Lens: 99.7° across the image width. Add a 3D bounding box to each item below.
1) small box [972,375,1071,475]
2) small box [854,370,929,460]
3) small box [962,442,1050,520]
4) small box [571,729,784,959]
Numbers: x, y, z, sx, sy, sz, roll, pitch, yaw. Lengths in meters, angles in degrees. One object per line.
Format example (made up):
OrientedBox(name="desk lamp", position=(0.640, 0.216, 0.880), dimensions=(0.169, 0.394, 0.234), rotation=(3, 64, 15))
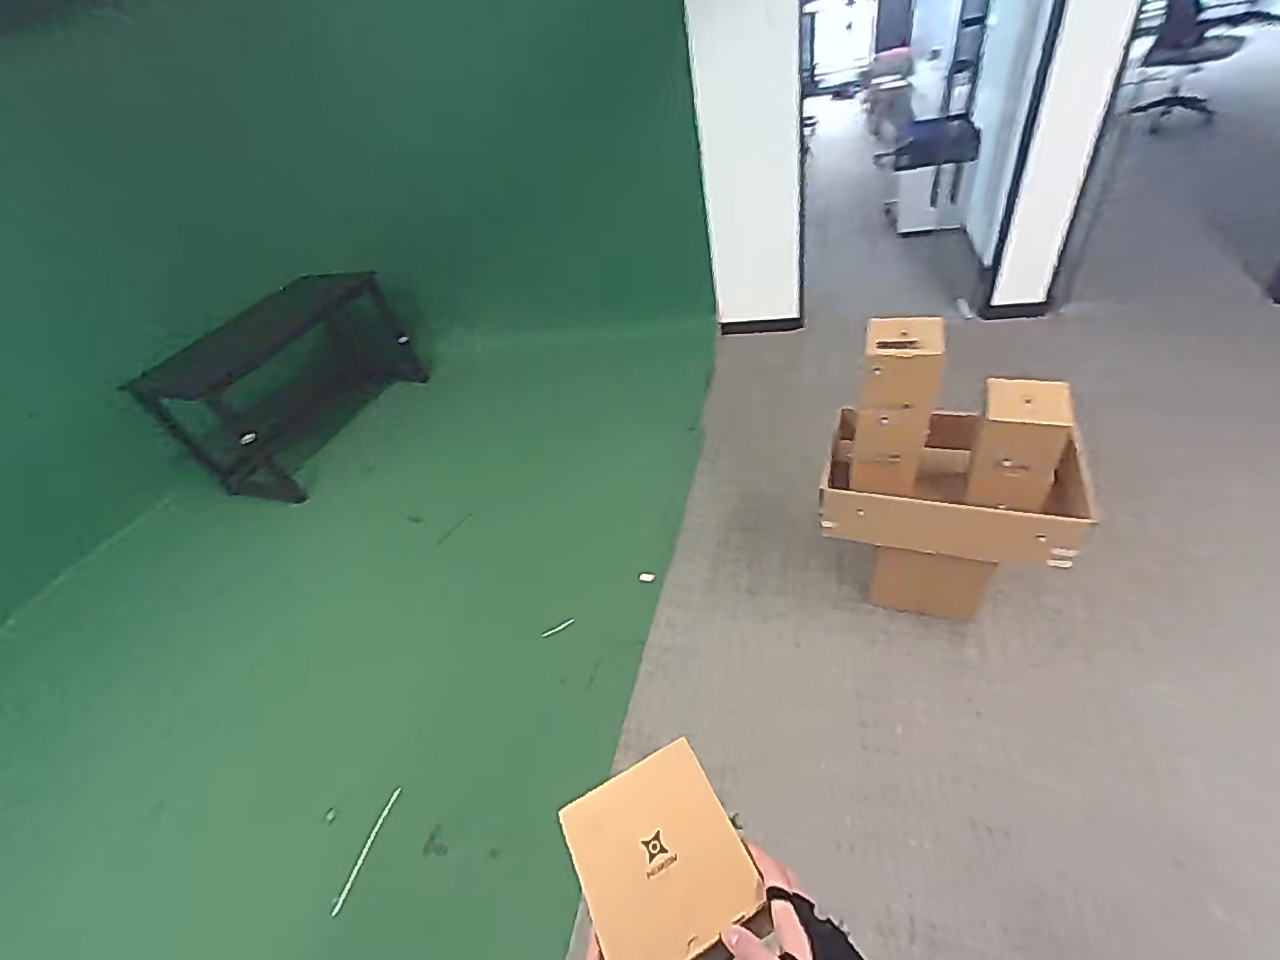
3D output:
OrientedBox(name="small box", position=(0.940, -0.139, 1.343), dimensions=(0.168, 0.176, 0.179), rotation=(10, 47, 26))
OrientedBox(name="small box", position=(0.675, -0.177, 1.460), dimensions=(0.168, 0.176, 0.179), rotation=(5, 45, 21))
OrientedBox(name="small box", position=(0.976, -0.022, 1.450), dimensions=(0.168, 0.176, 0.179), rotation=(11, 48, 26))
OrientedBox(name="small box", position=(0.042, 0.426, 0.608), dimensions=(0.168, 0.176, 0.179), rotation=(-25, 45, -11))
